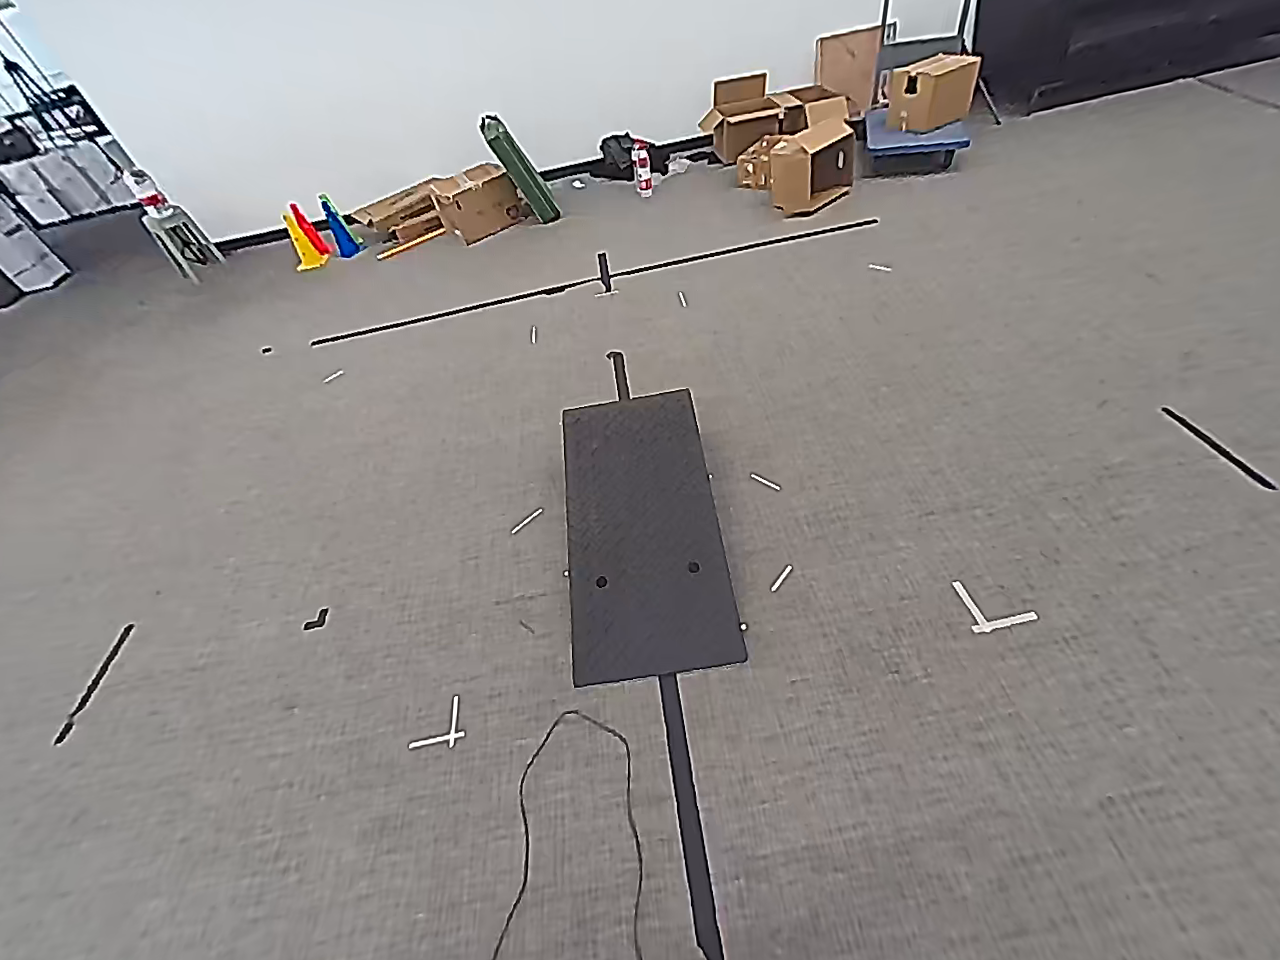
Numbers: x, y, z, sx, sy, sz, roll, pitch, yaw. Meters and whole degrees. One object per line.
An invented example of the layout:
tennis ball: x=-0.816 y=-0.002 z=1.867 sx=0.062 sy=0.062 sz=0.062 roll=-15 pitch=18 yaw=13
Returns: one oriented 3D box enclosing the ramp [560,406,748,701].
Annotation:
ramp: x=0.000 y=0.170 z=1.779 sx=0.509 sy=0.206 sz=0.991 roll=-11 pitch=45 yaw=1
